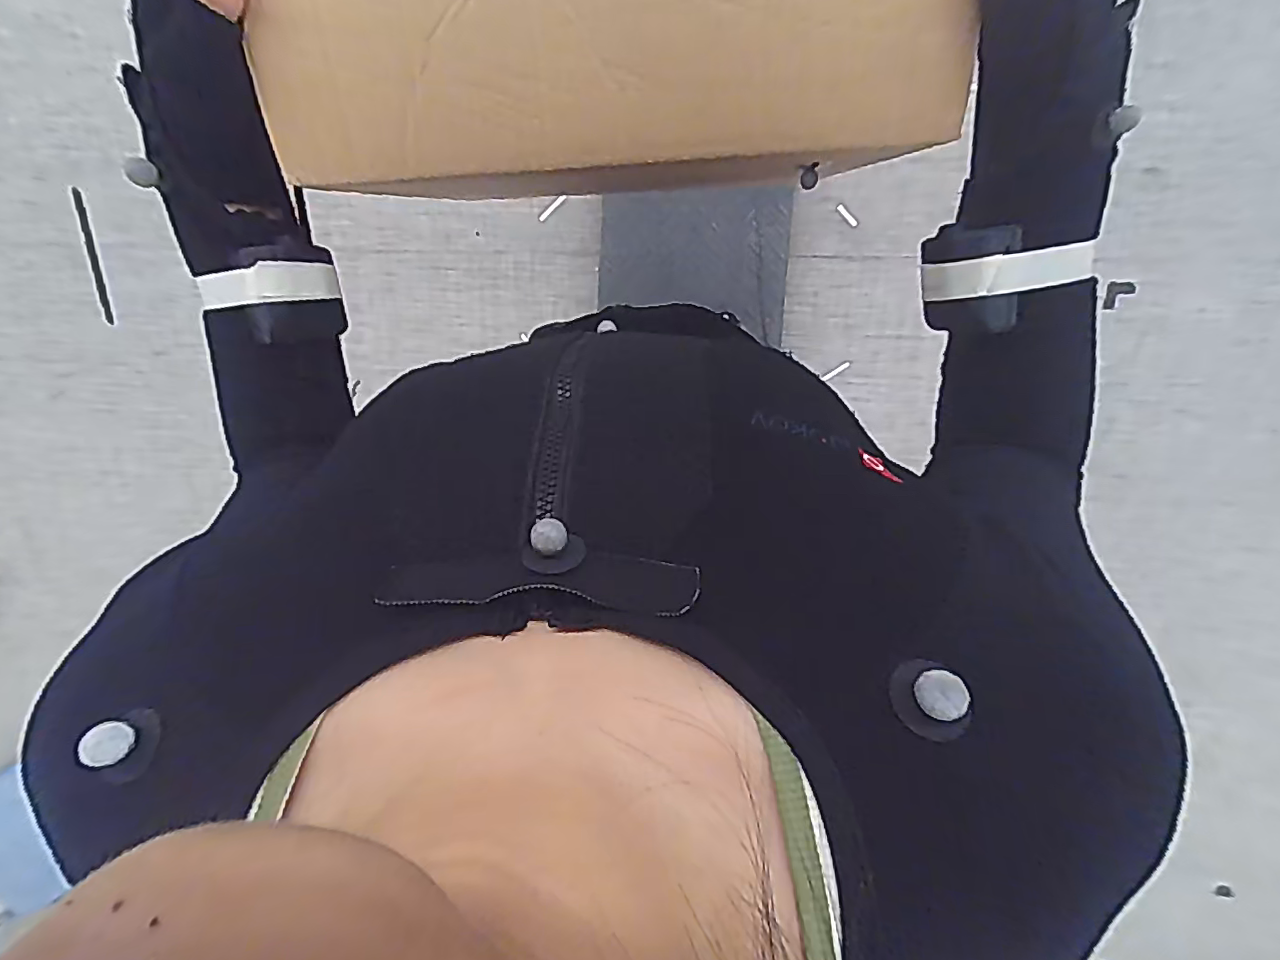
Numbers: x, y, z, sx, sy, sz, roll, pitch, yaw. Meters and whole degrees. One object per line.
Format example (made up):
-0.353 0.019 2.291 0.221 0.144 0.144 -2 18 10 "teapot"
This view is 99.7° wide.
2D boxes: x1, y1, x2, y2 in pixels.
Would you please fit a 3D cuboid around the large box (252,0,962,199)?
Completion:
-0.018 -0.398 0.404 0.408 0.320 0.320 -2 115 4 "large box"
